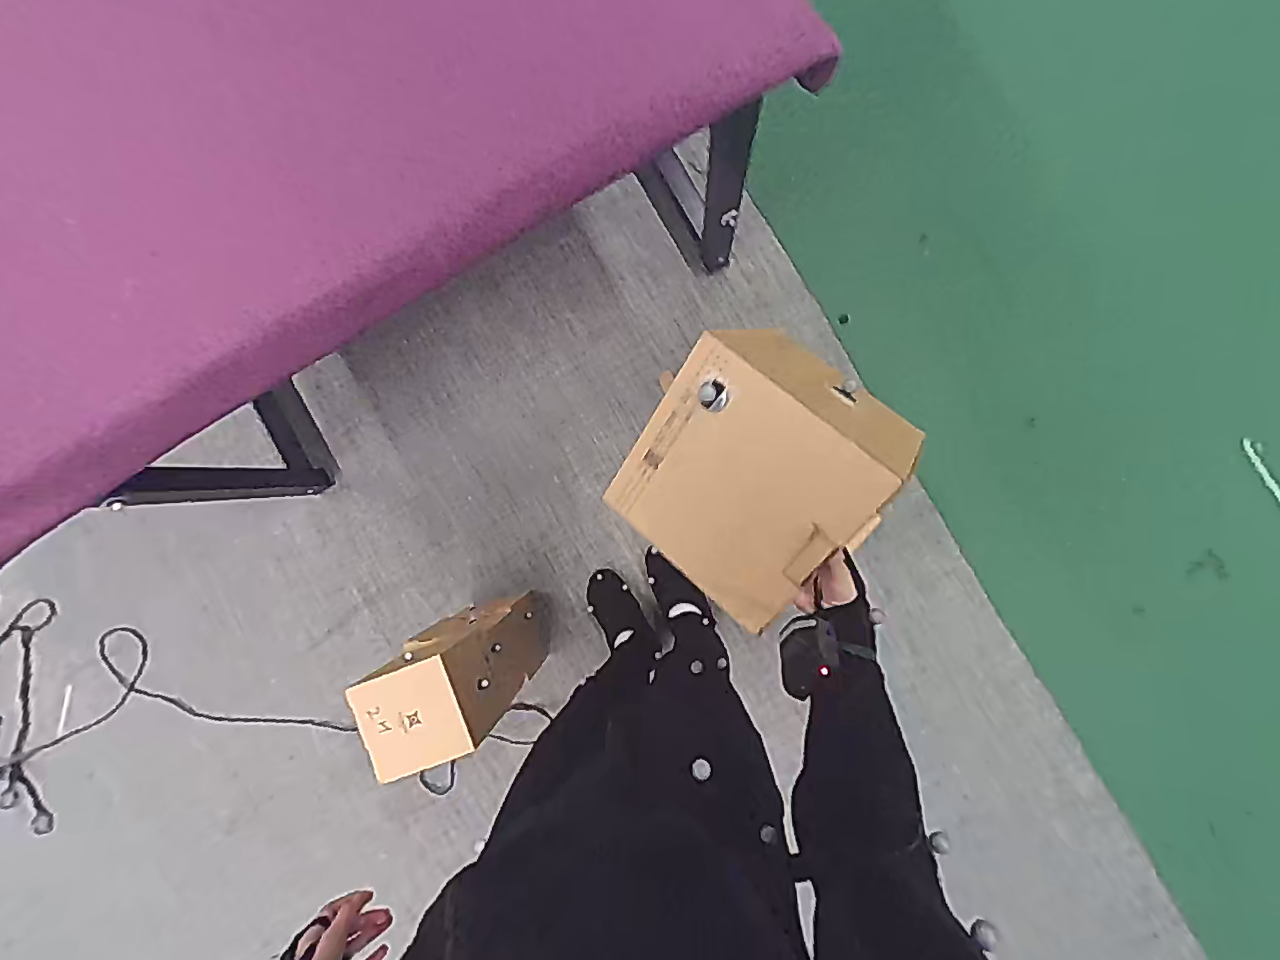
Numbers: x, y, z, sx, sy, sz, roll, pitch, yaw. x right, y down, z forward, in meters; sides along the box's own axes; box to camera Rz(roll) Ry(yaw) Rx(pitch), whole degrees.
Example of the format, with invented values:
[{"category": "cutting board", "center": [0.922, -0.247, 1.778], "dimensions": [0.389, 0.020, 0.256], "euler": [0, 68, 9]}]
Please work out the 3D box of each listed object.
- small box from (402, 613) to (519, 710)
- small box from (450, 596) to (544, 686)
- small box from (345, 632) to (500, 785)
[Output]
[{"category": "small box", "center": [-0.358, 0.387, 1.106], "dimensions": [0.168, 0.176, 0.179], "euler": [-8, 89, 5]}, {"category": "small box", "center": [-0.339, 0.380, 1.267], "dimensions": [0.168, 0.176, 0.179], "euler": [-14, 90, 5]}, {"category": "small box", "center": [-0.362, 0.385, 0.941], "dimensions": [0.179, 0.176, 0.168], "euler": [-21, 88, 5]}]
